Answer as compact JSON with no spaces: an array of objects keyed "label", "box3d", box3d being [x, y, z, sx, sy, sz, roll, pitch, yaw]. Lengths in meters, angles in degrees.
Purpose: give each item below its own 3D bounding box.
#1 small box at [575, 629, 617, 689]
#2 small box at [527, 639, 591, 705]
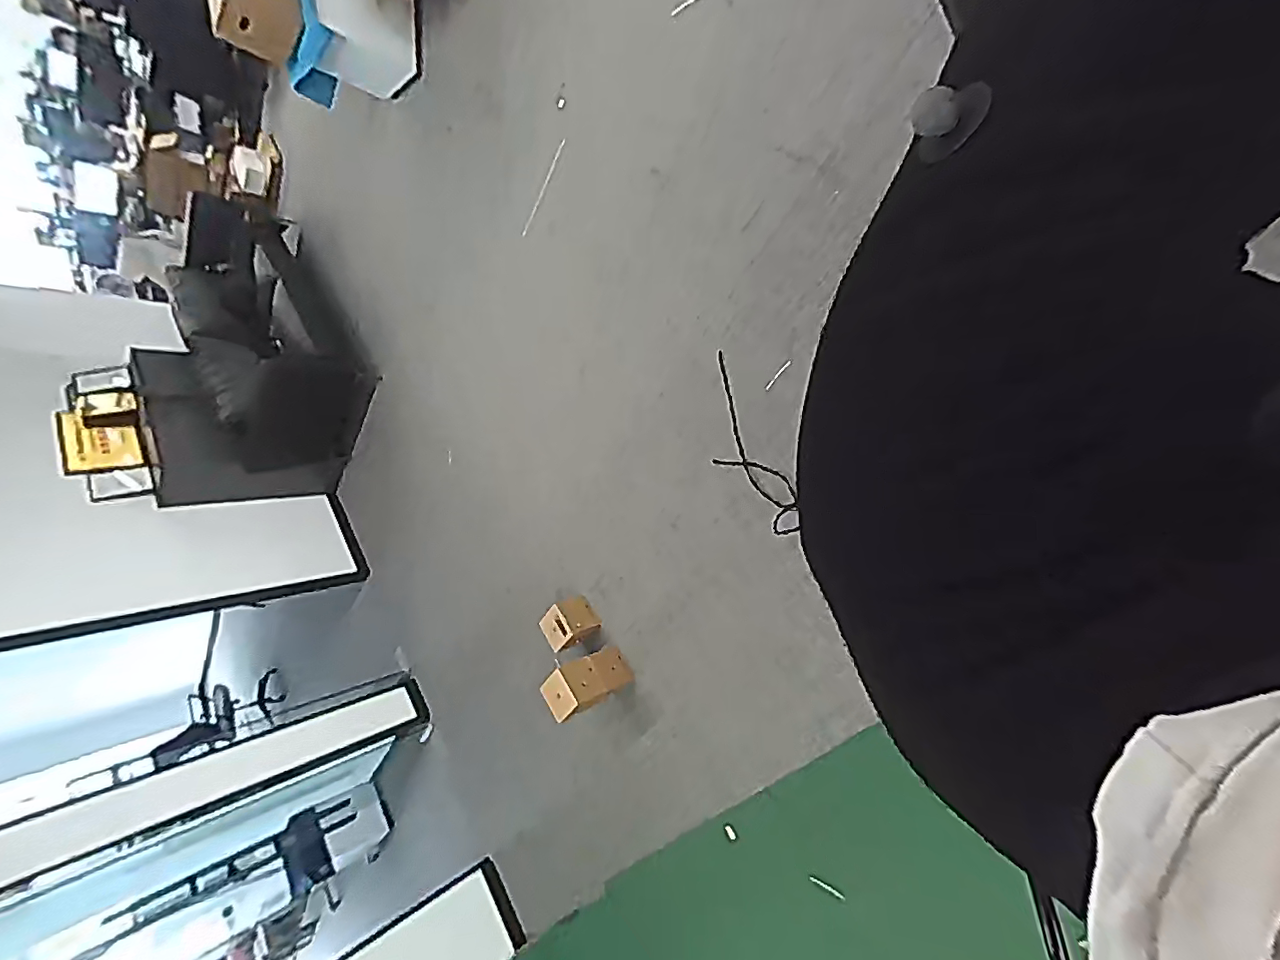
[{"label":"small box","box3d":[-0.223,0.776,2.360,0.179,0.176,0.168,-50,64,33]},{"label":"small box","box3d":[-0.329,0.789,2.238,0.168,0.176,0.179,53,125,23]}]
